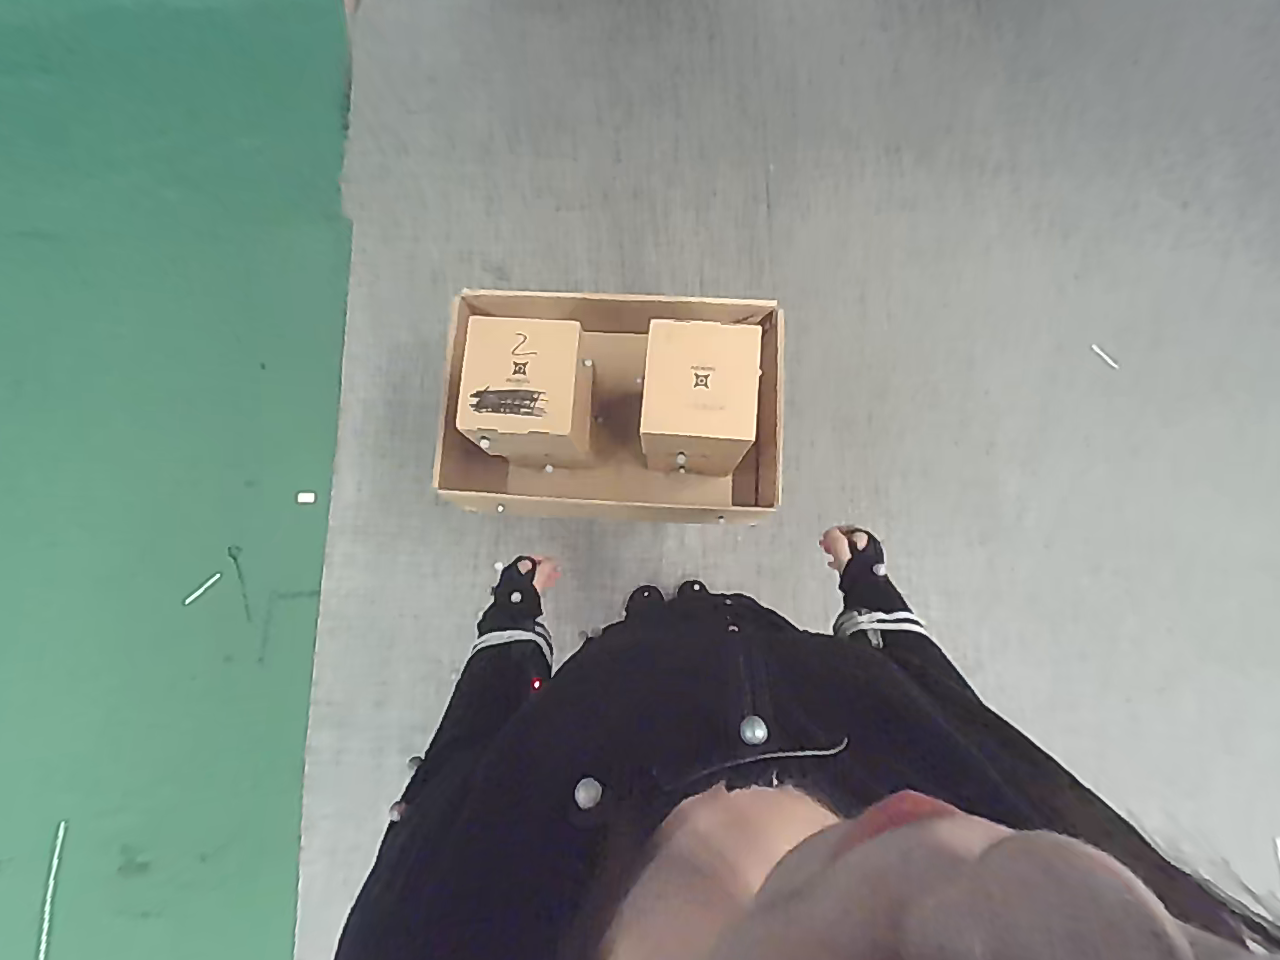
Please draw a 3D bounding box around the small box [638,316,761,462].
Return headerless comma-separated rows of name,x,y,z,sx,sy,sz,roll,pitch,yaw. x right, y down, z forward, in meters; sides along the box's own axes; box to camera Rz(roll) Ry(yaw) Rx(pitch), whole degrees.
small box,0.090,-0.136,0.855,0.168,0.176,0.179,5,81,4
